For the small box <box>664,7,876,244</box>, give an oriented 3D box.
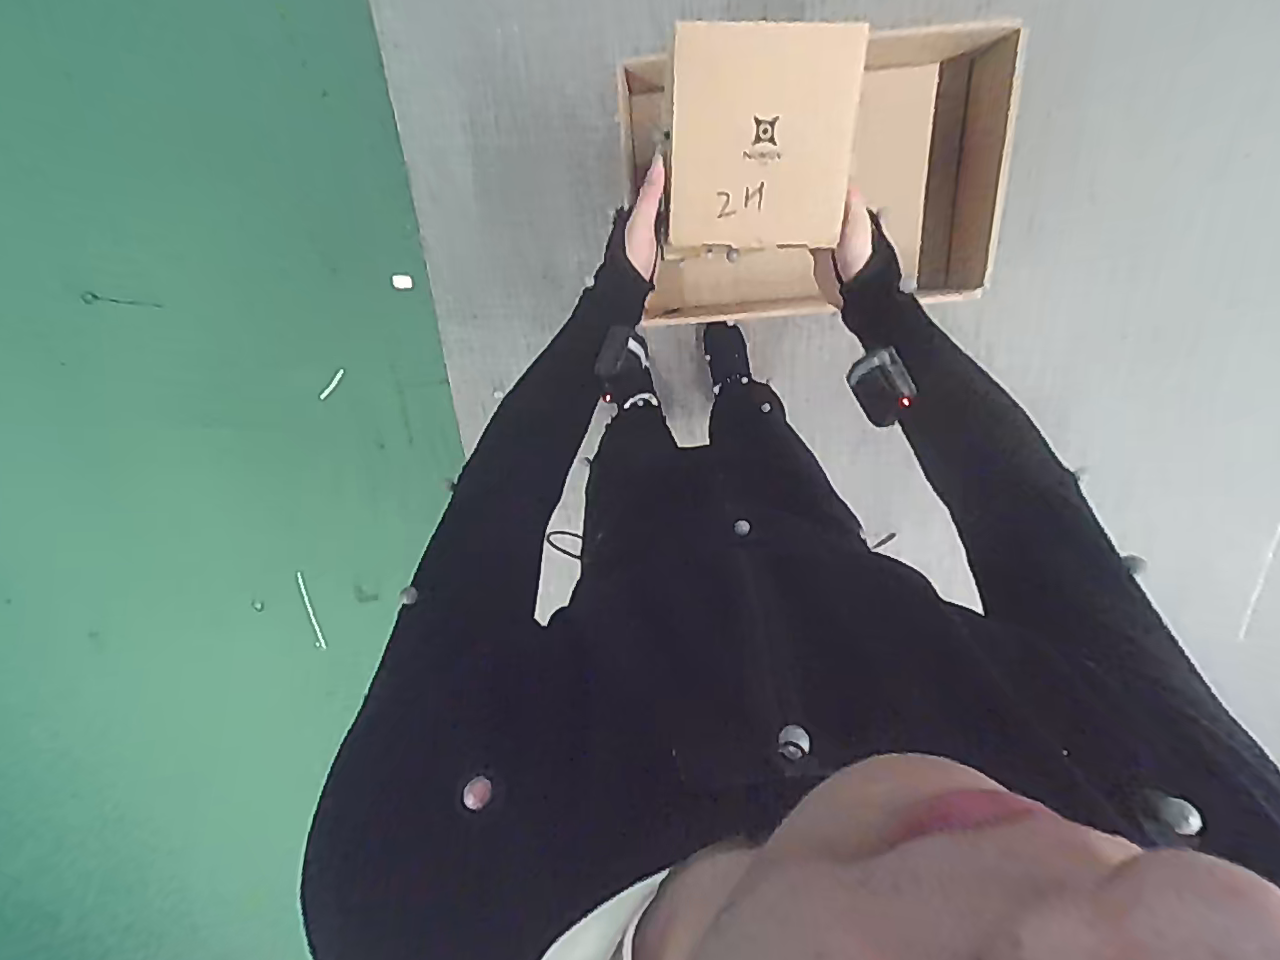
[{"bbox_3d":[0.112,-0.340,0.554,0.168,0.176,0.179,1,114,-1],"label":"small box"}]
